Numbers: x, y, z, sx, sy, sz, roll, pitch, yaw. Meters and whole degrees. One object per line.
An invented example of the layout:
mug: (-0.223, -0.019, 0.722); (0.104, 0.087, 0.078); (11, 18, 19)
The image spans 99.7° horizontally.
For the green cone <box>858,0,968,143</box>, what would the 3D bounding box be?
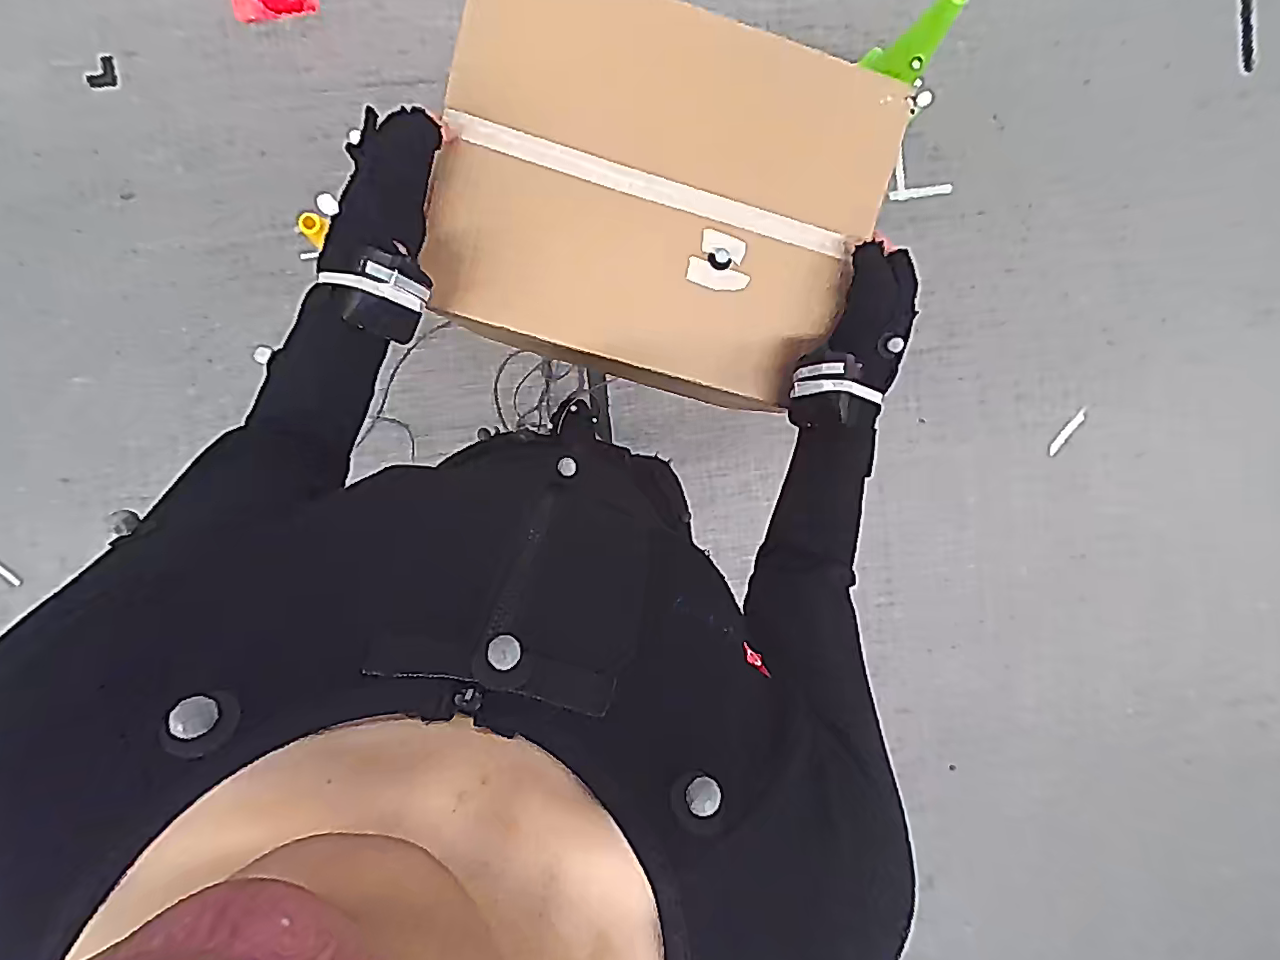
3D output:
green cone: (0.632, -0.985, 1.236); (0.202, 0.368, 0.200); (-44, 97, 0)

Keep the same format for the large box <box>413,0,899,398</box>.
large box: (0.002, -0.295, 0.645); (0.408, 0.320, 0.320); (14, 98, -7)

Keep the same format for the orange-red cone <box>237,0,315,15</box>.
orange-red cone: (-0.884, -1.221, 1.138); (0.198, 0.360, 0.199); (-9, 97, -1)
